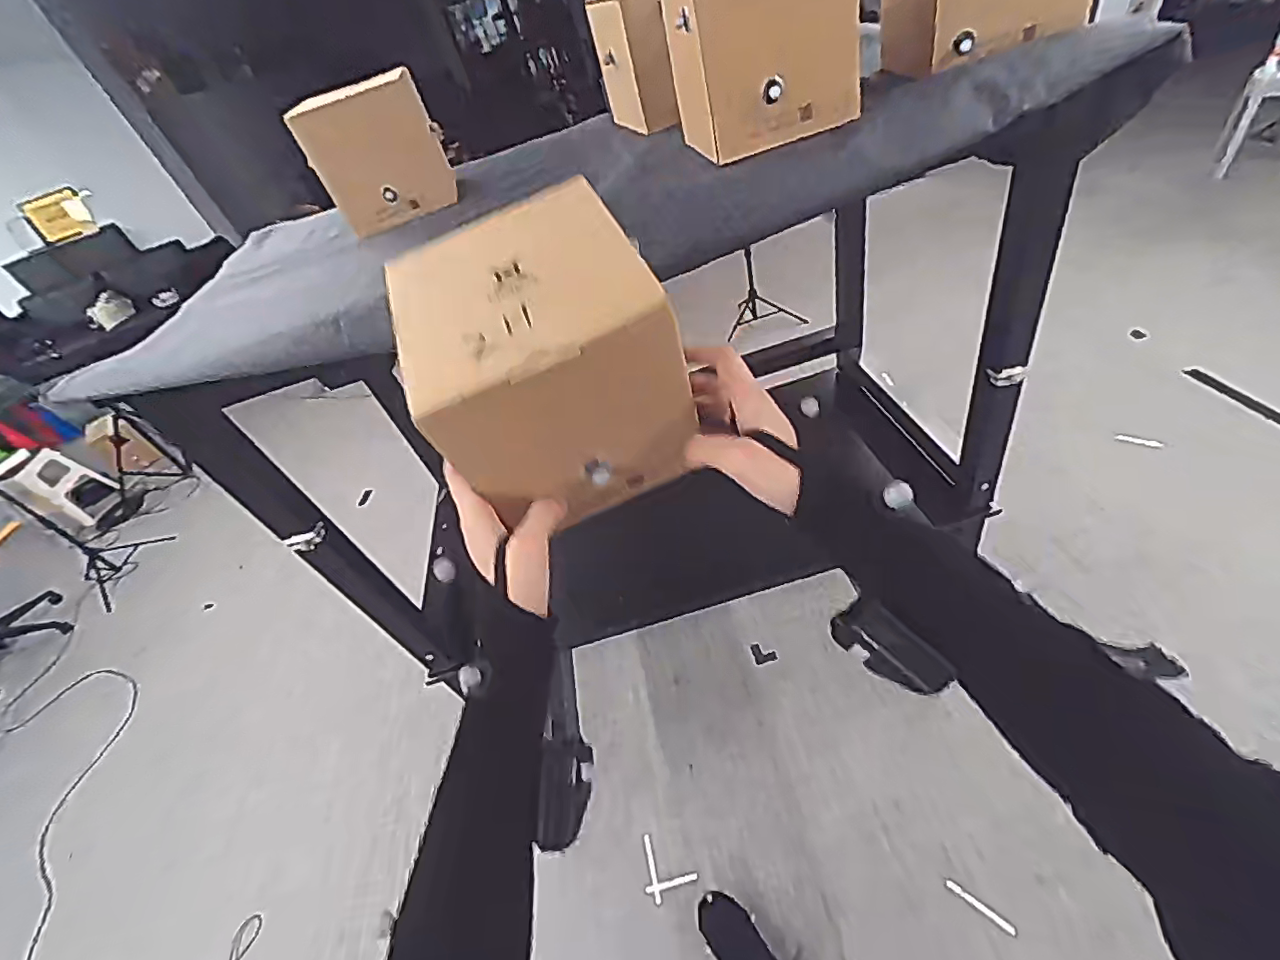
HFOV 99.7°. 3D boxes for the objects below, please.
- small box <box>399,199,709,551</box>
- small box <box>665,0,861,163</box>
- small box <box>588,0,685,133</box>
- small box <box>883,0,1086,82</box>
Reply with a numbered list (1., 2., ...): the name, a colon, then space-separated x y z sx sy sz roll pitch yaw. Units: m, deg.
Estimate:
1. small box: -0.060 -0.075 0.424 0.168 0.176 0.179 -25 55 -1
2. small box: 0.135 -0.488 0.621 0.168 0.176 0.179 -18 41 3
3. small box: 0.037 -0.665 0.843 0.168 0.176 0.179 -24 42 -4
4. small box: 0.393 -0.587 0.624 0.168 0.176 0.179 -12 41 10
